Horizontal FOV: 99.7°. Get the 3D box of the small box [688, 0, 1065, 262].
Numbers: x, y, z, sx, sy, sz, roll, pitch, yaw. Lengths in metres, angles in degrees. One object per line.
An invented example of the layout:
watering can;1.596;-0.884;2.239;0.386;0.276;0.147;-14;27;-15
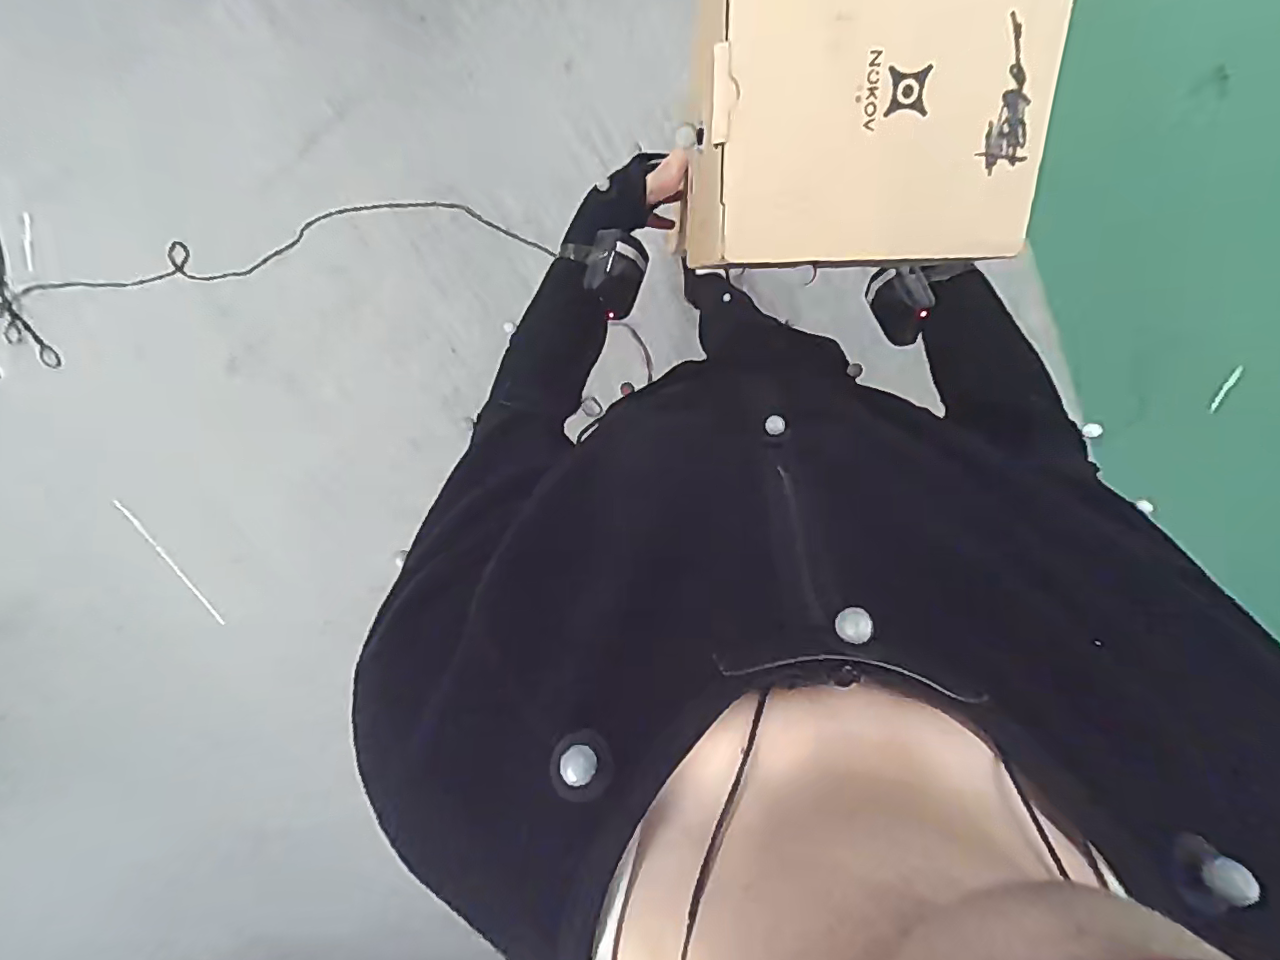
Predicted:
small box;0.124;-0.235;0.352;0.179;0.176;0.168;-2;110;-1
